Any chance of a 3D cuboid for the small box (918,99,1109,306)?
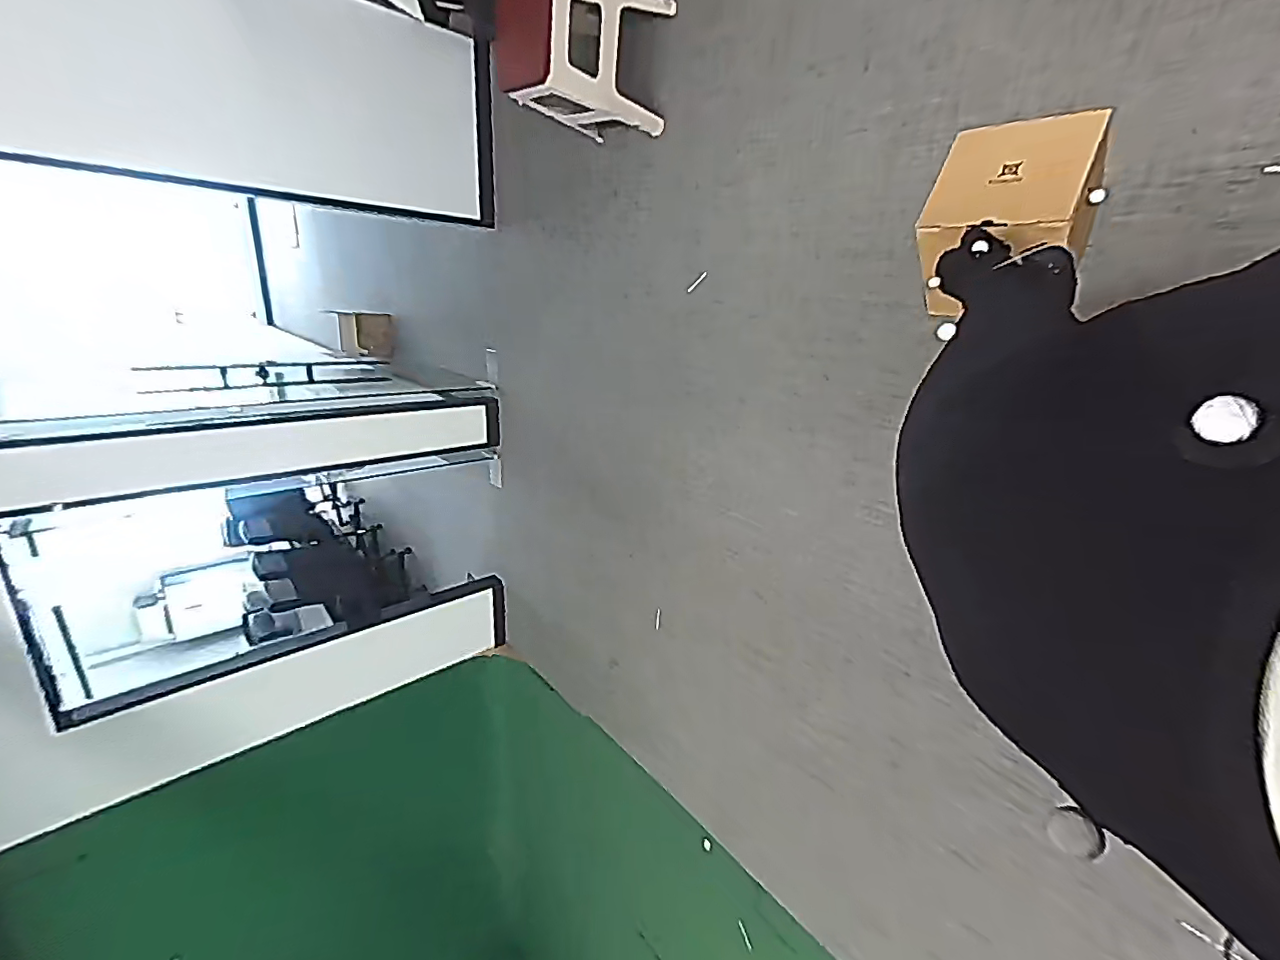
[{"bbox_3d":[0.501,-0.366,0.739,0.168,0.176,0.179,18,77,39],"label":"small box"}]
